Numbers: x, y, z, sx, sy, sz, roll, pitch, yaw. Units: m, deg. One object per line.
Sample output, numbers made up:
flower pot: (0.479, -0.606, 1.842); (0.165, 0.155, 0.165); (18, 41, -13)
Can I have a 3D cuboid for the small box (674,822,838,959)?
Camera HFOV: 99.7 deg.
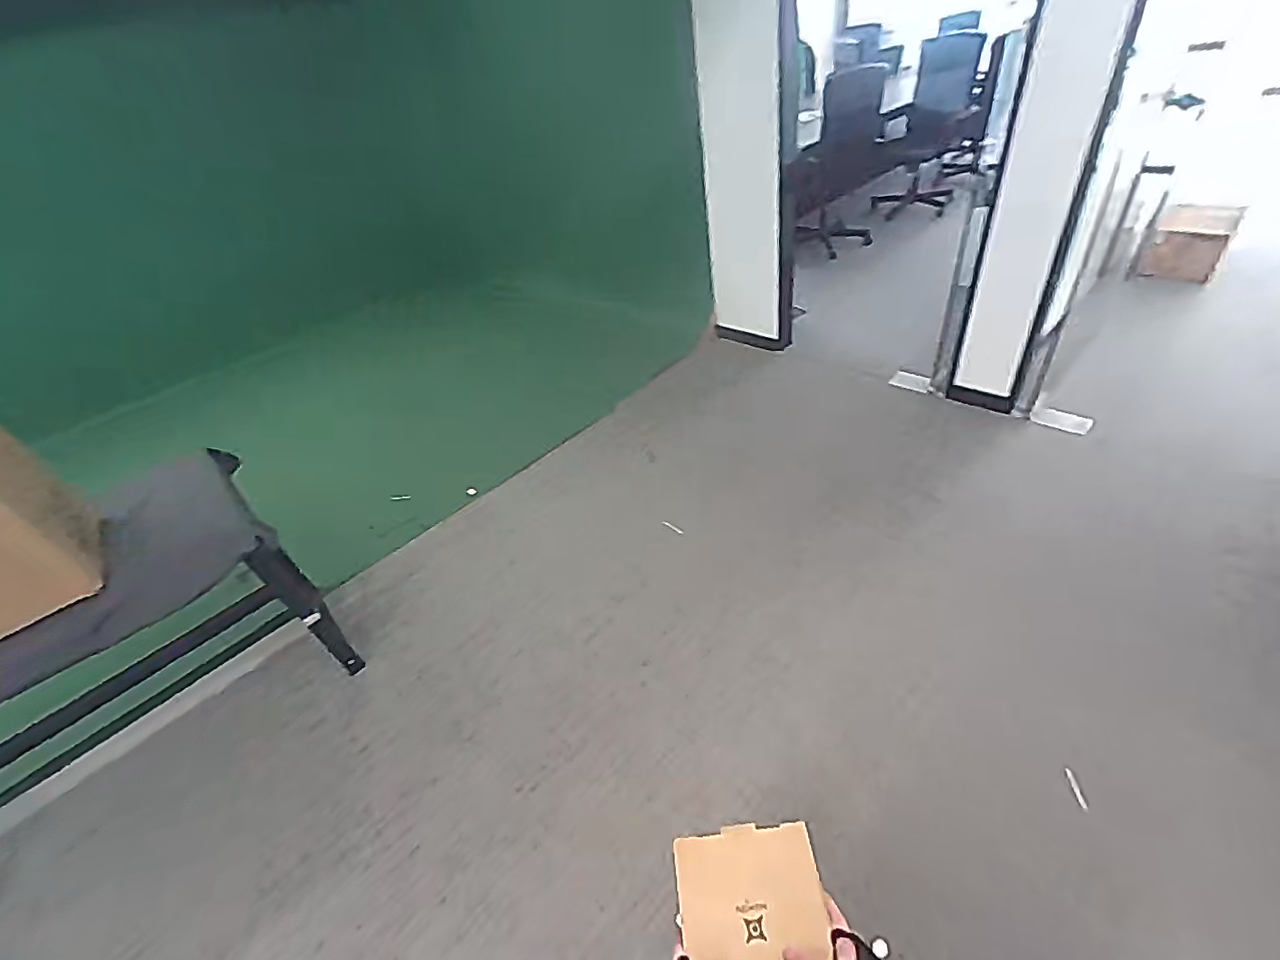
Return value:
small box: (0.137, 0.545, 0.655); (0.168, 0.176, 0.179); (-10, 43, 4)
